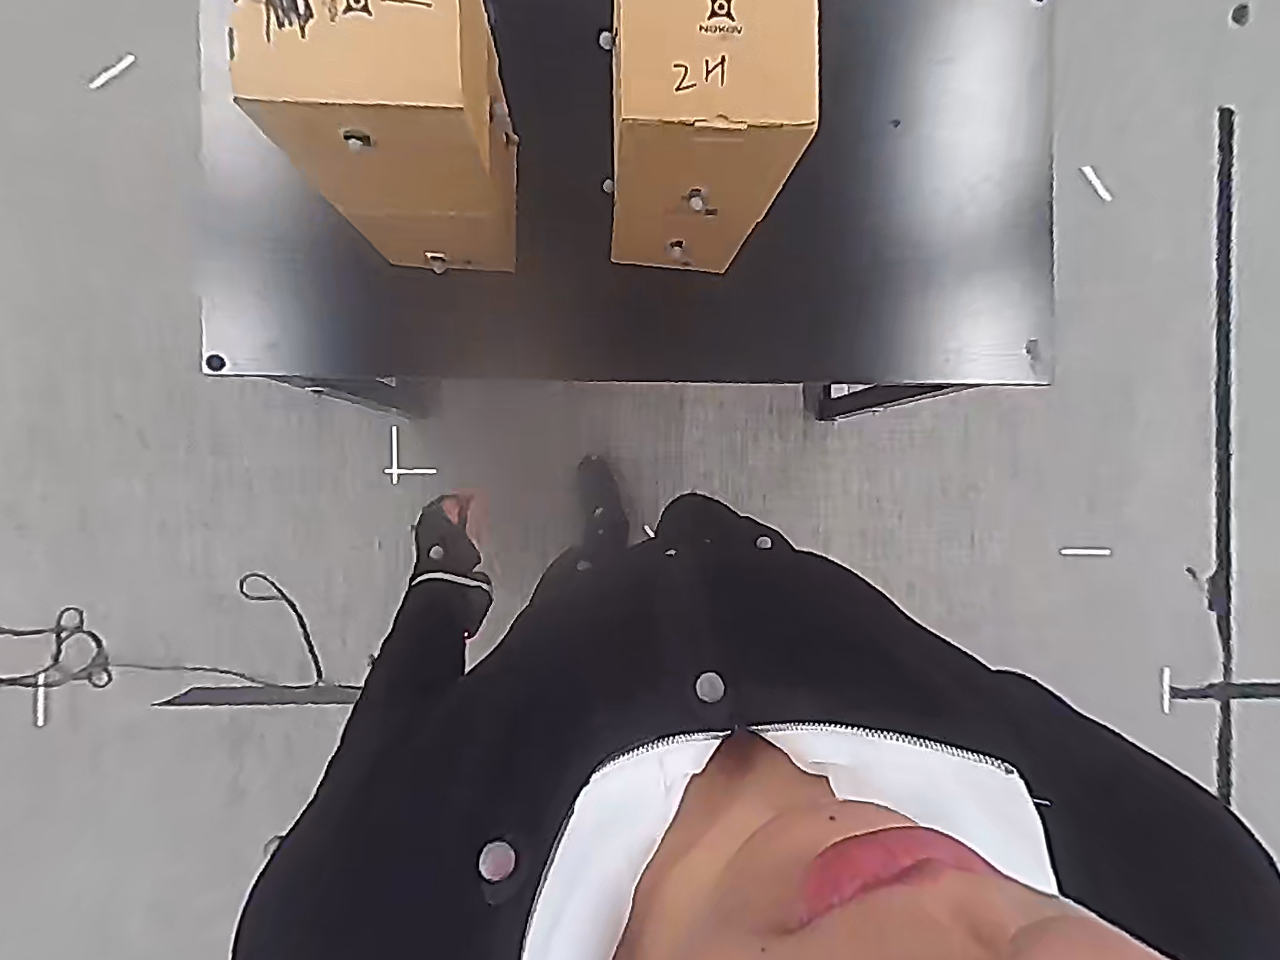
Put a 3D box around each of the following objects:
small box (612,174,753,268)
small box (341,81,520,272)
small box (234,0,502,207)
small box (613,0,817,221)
[{"bbox_3d":[0.052,-0.389,0.689,0.168,0.176,0.179,4,90,-4],"label":"small box"},{"bbox_3d":[-0.245,-0.377,0.666,0.168,0.176,0.179,0,91,-3],"label":"small box"},{"bbox_3d":[-0.232,-0.375,0.502,0.179,0.176,0.168,-1,90,-4],"label":"small box"},{"bbox_3d":[0.059,-0.380,0.523,0.168,0.176,0.179,-1,90,-4],"label":"small box"}]
